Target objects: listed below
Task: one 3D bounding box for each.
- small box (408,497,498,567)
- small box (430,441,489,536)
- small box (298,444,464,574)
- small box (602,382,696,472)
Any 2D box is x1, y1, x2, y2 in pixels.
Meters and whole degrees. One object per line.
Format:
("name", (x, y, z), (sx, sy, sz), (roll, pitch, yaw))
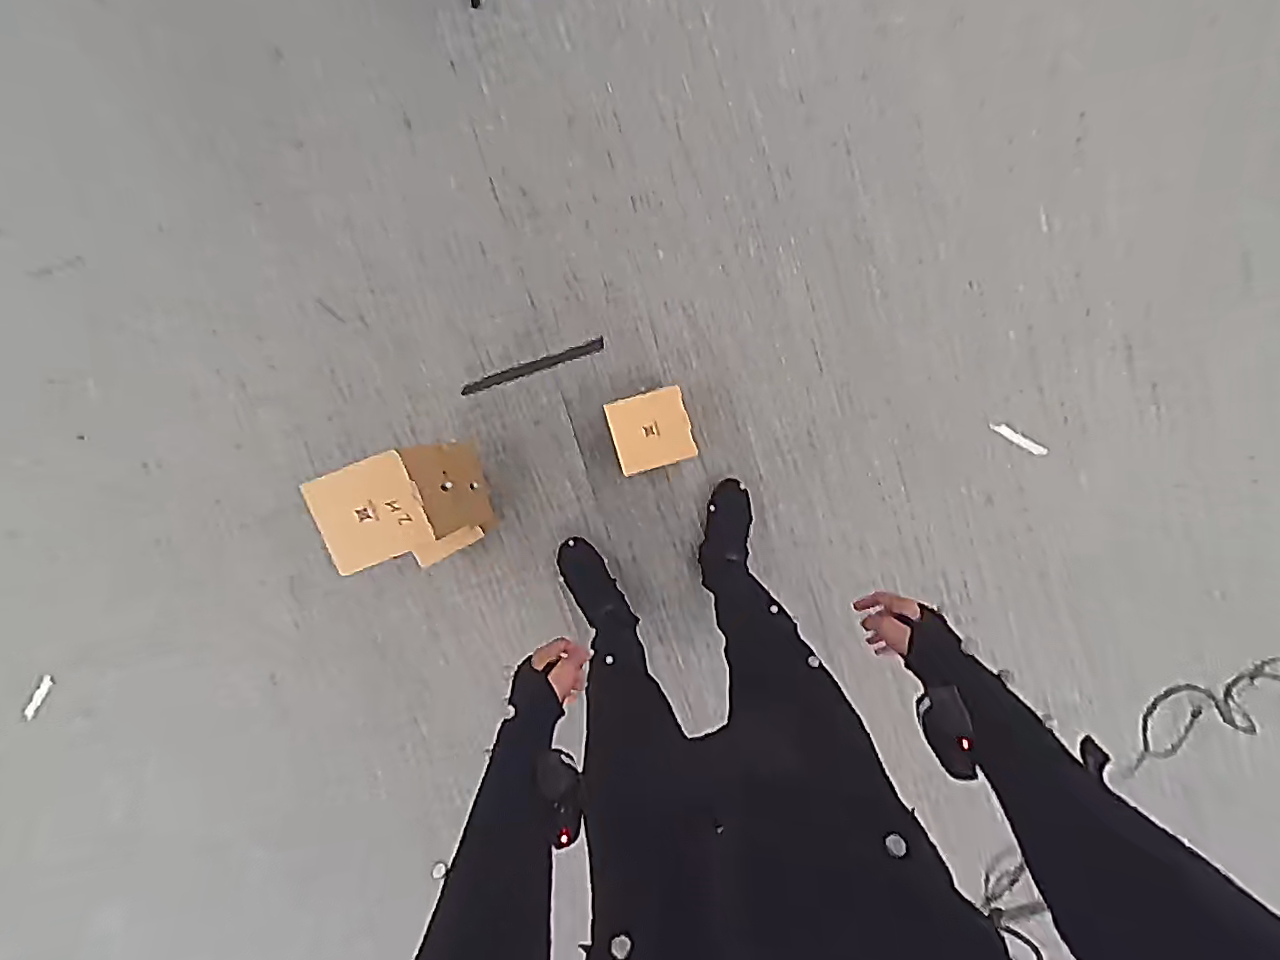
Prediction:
("small box", (-0.462, 0.075, 1.278), (0.168, 0.176, 0.179), (-28, 96, 2))
("small box", (-0.427, 0.021, 1.109), (0.168, 0.176, 0.179), (-14, 96, 1))
("small box", (-0.439, 0.043, 0.946), (0.179, 0.176, 0.168), (-21, 96, 2))
("small box", (0.019, -0.122, 1.268), (0.179, 0.176, 0.168), (-17, 96, -1))
